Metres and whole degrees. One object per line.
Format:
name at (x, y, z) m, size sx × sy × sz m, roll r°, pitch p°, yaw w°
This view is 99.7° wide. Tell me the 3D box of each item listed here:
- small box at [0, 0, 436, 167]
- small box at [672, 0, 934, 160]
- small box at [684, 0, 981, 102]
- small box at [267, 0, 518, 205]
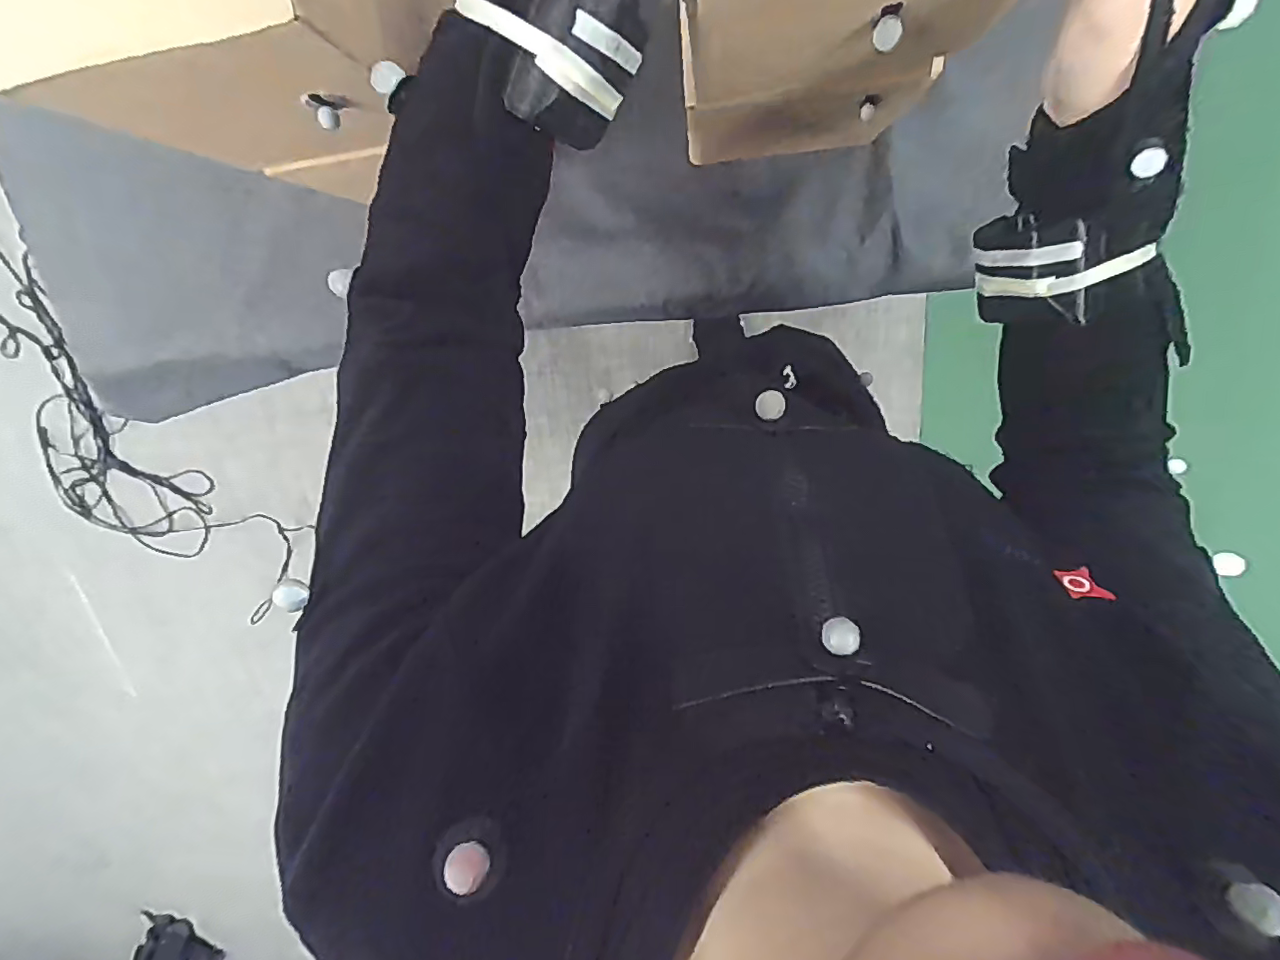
small box at (-0.241, -0.306, 0.316) m, size 0.179 × 0.176 × 0.168 m, roll -6°, pitch 106°, yaw 8°
small box at (0.115, -0.374, 0.432) m, size 0.179 × 0.176 × 0.168 m, roll -3°, pitch 107°, yaw 6°
small box at (0.101, -0.319, 0.255) m, size 0.179 × 0.176 × 0.168 m, roll -8°, pitch 107°, yaw 8°
small box at (-0.220, -0.357, 0.469) m, size 0.168 × 0.176 × 0.179 m, roll -5°, pitch 108°, yaw 8°
